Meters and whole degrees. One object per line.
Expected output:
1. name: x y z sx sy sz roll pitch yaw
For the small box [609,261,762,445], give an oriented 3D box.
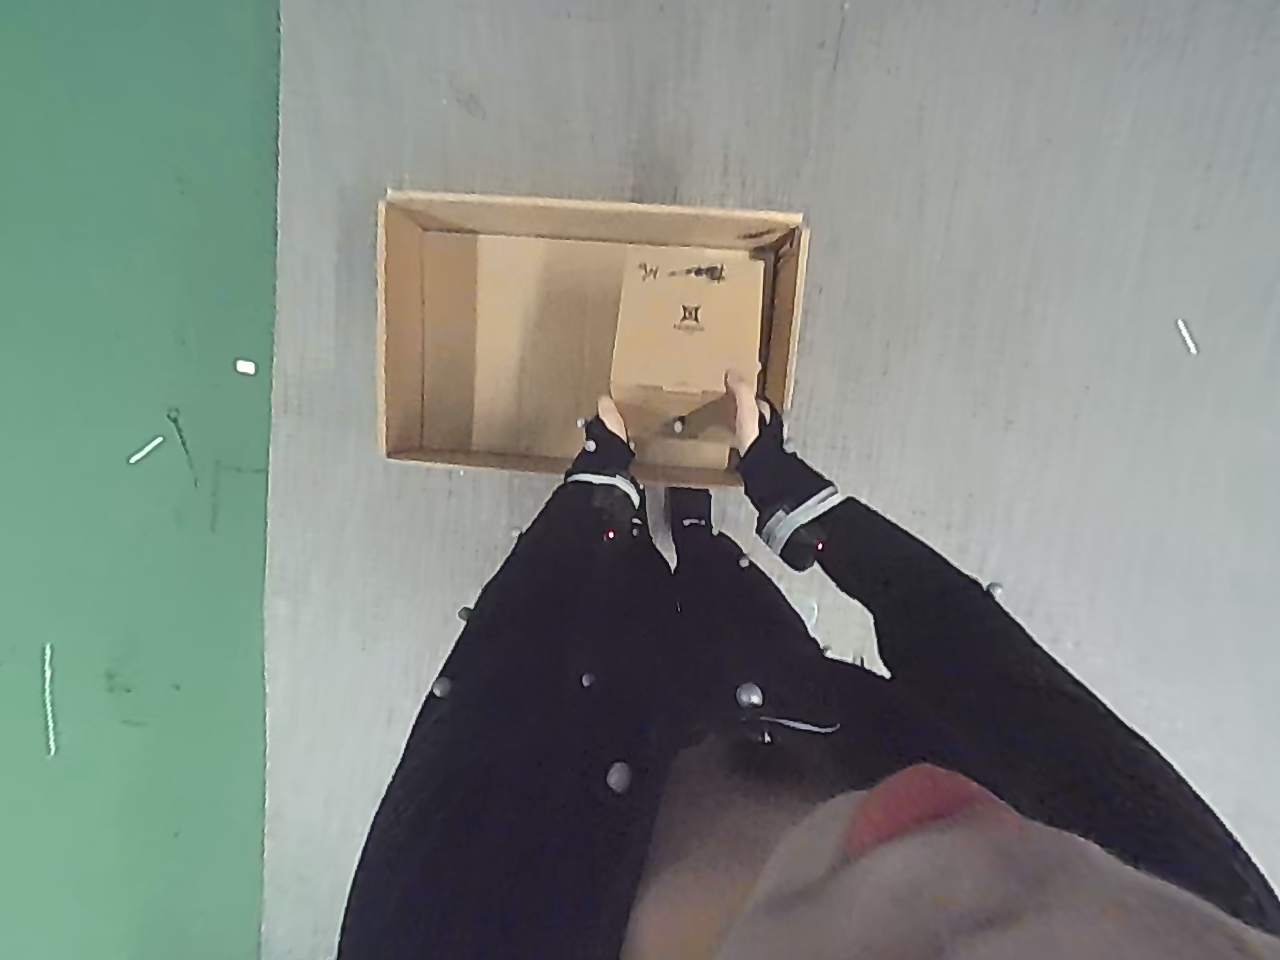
1. small box: 0.059 -0.156 0.708 0.168 0.176 0.179 6 75 4
